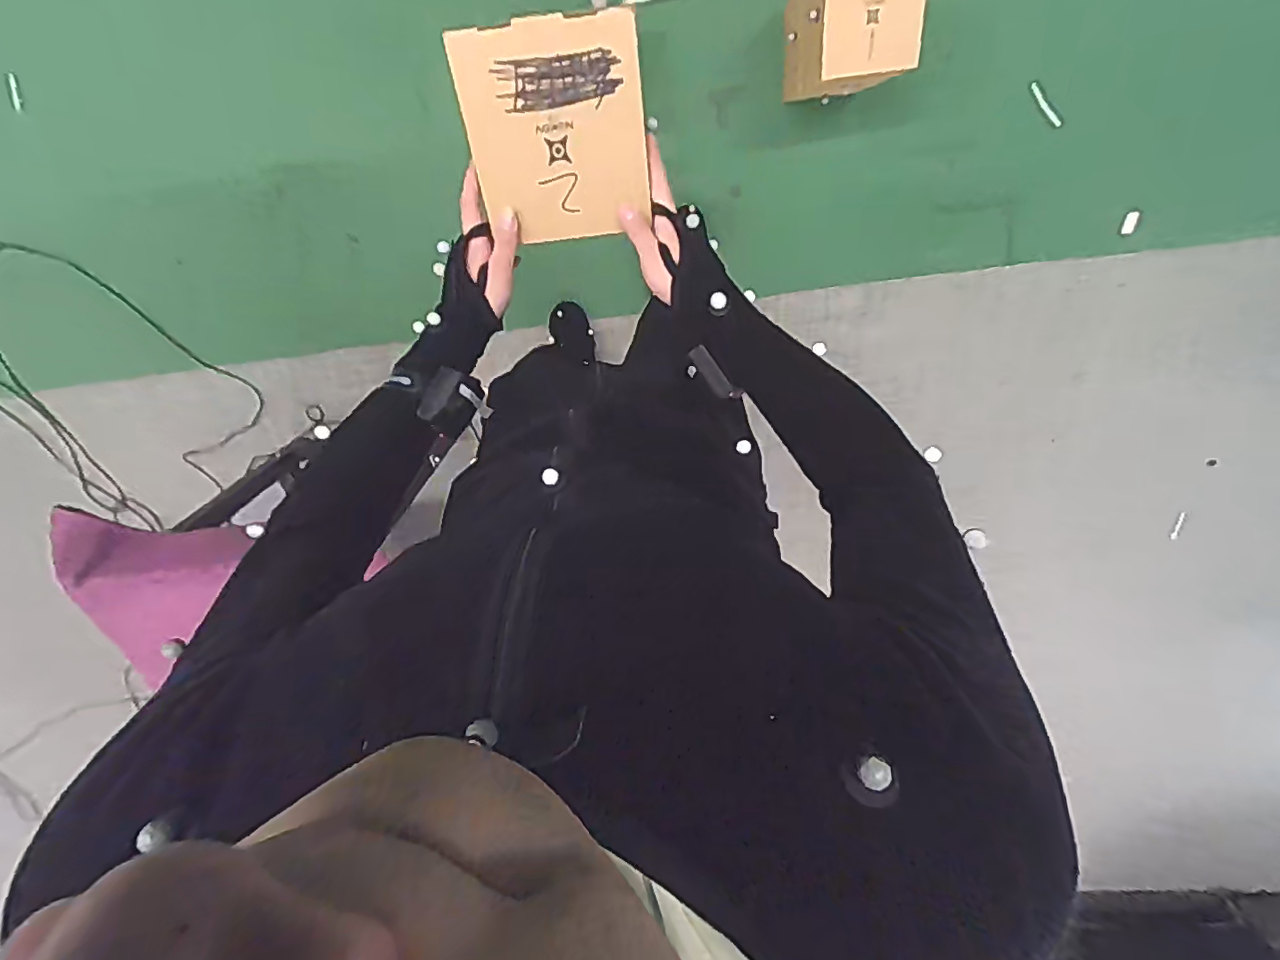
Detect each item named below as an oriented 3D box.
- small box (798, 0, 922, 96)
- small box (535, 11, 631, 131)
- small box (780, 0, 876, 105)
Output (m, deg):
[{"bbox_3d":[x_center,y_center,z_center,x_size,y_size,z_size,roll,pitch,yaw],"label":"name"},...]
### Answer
[{"bbox_3d":[0.386,-0.815,0.970,0.168,0.176,0.179,-5,120,4],"label":"small box"},{"bbox_3d":[-0.112,-0.856,1.152,0.168,0.176,0.179,-5,118,5],"label":"small box"},{"bbox_3d":[0.388,-0.896,1.113,0.168,0.176,0.179,-4,120,4],"label":"small box"}]
